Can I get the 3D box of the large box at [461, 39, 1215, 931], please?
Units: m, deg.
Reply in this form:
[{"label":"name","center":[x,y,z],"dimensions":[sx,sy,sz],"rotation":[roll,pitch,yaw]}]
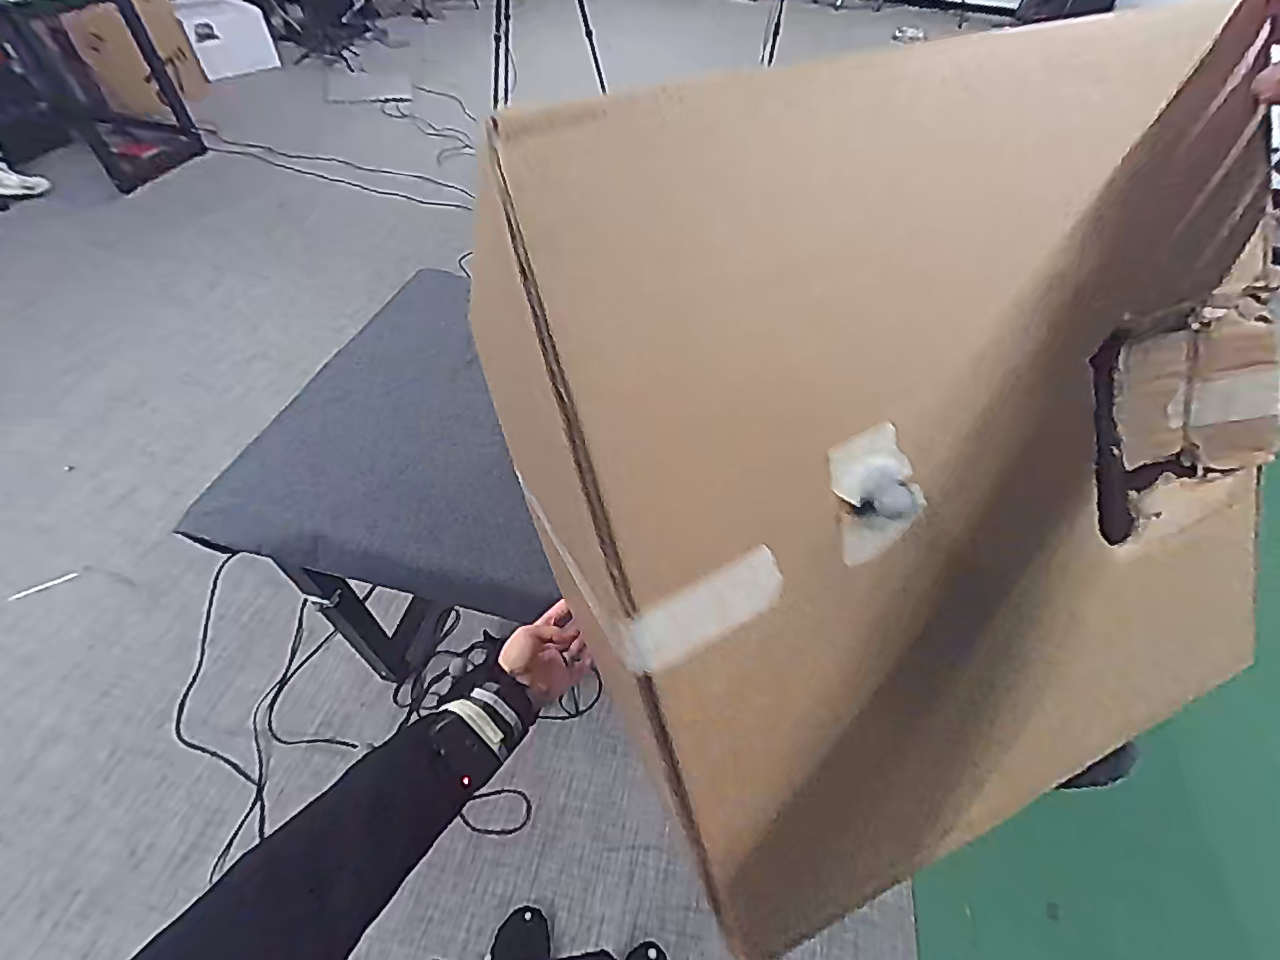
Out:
[{"label":"large box","center":[0.077,-0.028,0.404],"dimensions":[0.320,0.320,0.408],"rotation":[-21,16,-16]}]
